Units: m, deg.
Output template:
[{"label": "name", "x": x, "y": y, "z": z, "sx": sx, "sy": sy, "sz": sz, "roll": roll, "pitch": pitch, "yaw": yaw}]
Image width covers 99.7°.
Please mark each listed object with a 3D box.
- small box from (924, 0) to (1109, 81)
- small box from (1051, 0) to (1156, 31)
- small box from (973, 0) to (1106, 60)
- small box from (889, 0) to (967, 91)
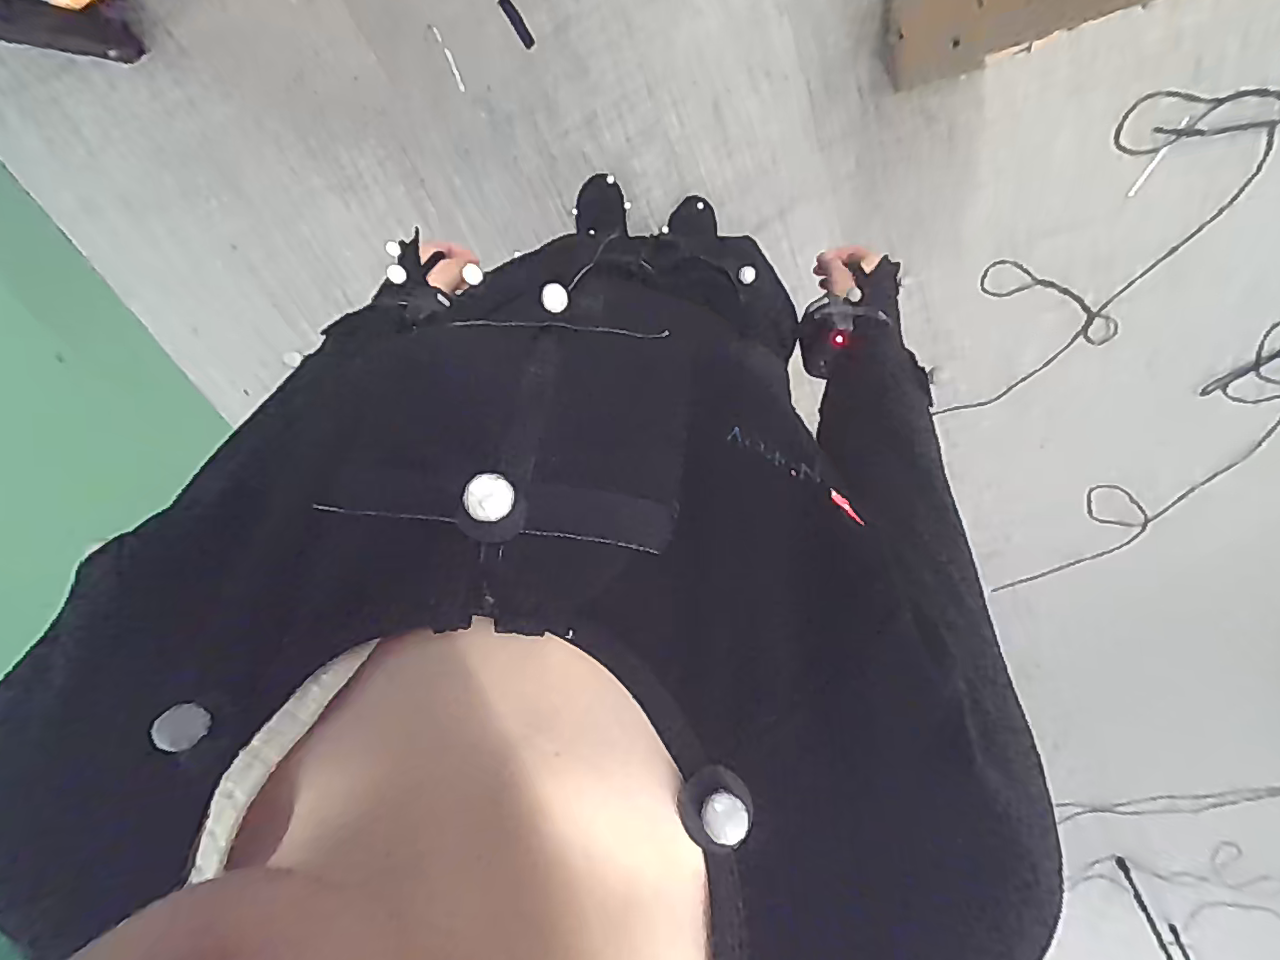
[{"label": "small box", "x": 0.524, "y": -0.700, "z": 0.766, "sx": 0.168, "sy": 0.176, "sz": 0.179, "roll": -19, "pitch": 117, "yaw": 12}, {"label": "small box", "x": 0.501, "y": -0.543, "z": 0.478, "sx": 0.179, "sy": 0.176, "sz": 0.168, "roll": -20, "pitch": 118, "yaw": 12}, {"label": "small box", "x": 0.514, "y": -0.623, "z": 0.621, "sx": 0.179, "sy": 0.176, "sz": 0.168, "roll": -17, "pitch": 118, "yaw": 13}, {"label": "small box", "x": 0.536, "y": -0.781, "z": 0.905, "sx": 0.168, "sy": 0.176, "sz": 0.179, "roll": -16, "pitch": 120, "yaw": 11}]
